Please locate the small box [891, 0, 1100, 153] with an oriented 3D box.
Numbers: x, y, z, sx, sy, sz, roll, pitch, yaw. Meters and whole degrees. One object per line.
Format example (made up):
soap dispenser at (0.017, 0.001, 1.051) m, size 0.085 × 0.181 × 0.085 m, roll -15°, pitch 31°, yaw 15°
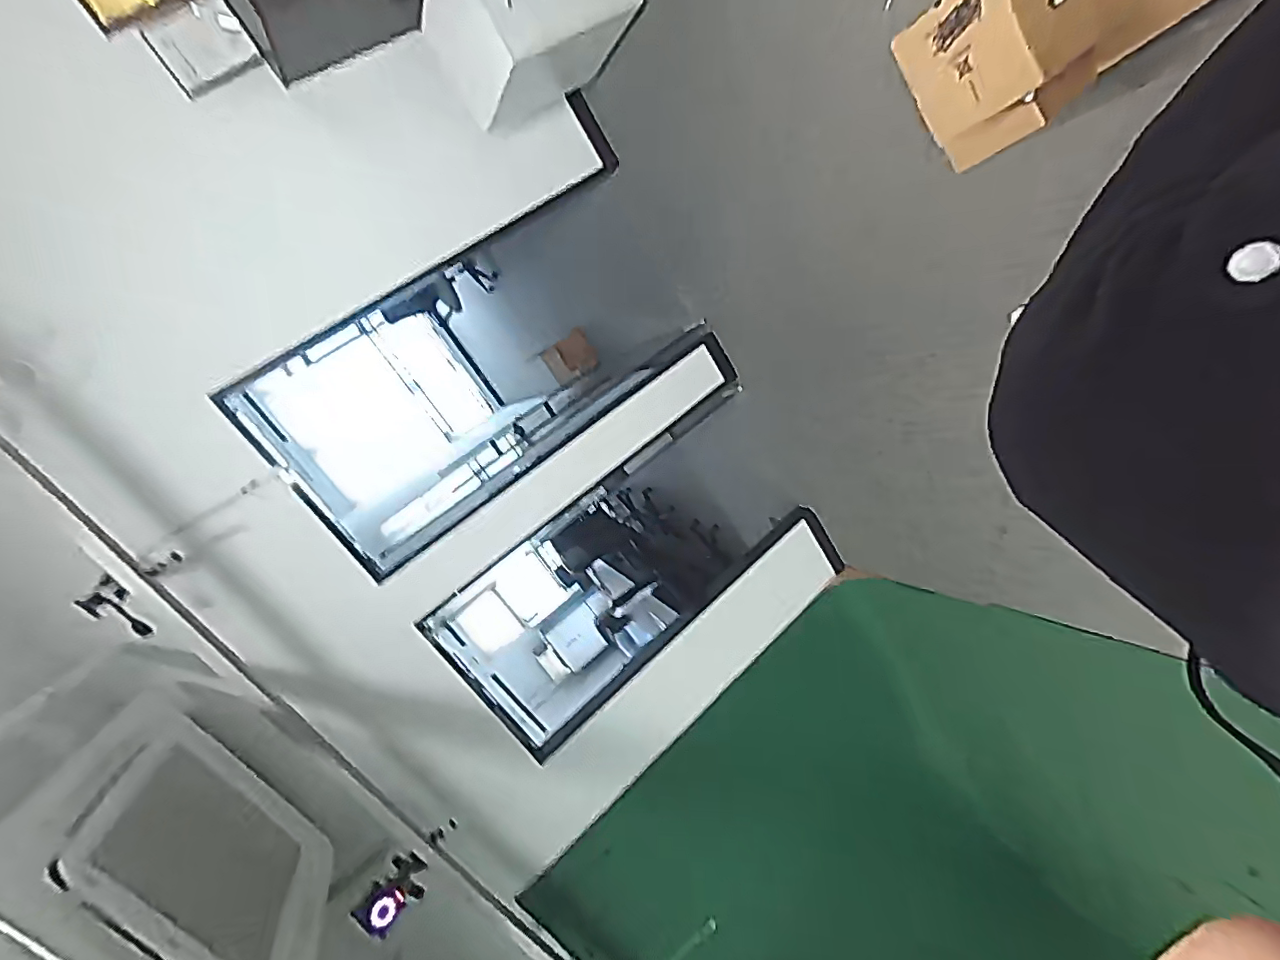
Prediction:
small box at (0.520, -0.640, 0.798) m, size 0.179 × 0.176 × 0.168 m, roll 53°, pitch 165°, yaw -14°
